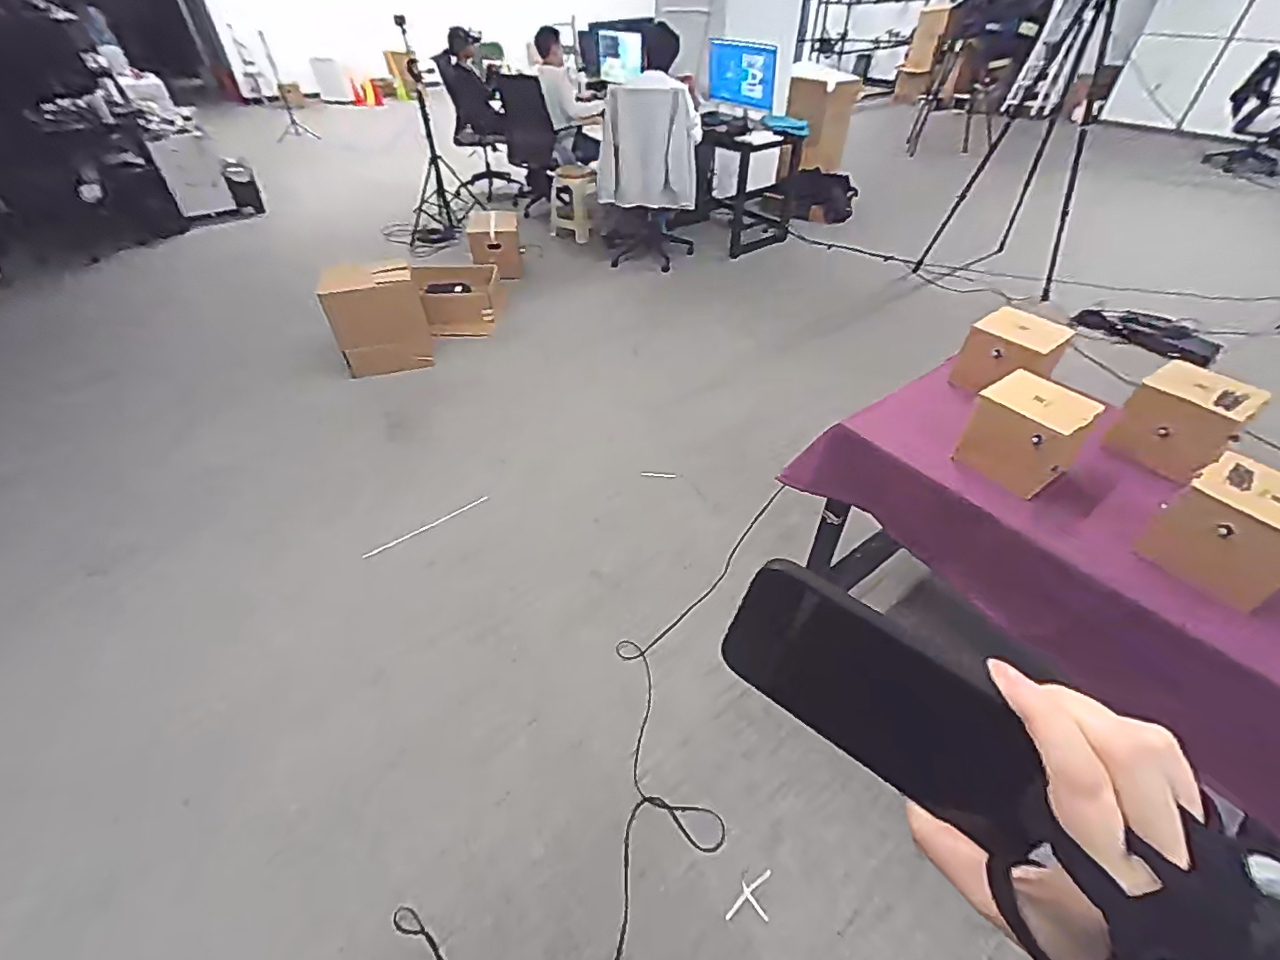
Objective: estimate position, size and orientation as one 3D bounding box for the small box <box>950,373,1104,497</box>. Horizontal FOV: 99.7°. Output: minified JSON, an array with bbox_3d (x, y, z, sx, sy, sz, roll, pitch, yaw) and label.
[{"bbox_3d":[0.797,-0.095,1.134,0.168,0.176,0.179,-26,50,-25],"label":"small box"}]

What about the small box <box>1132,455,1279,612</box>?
[{"bbox_3d":[1.019,0.091,0.931,0.168,0.176,0.179,-24,49,-24],"label":"small box"}]
